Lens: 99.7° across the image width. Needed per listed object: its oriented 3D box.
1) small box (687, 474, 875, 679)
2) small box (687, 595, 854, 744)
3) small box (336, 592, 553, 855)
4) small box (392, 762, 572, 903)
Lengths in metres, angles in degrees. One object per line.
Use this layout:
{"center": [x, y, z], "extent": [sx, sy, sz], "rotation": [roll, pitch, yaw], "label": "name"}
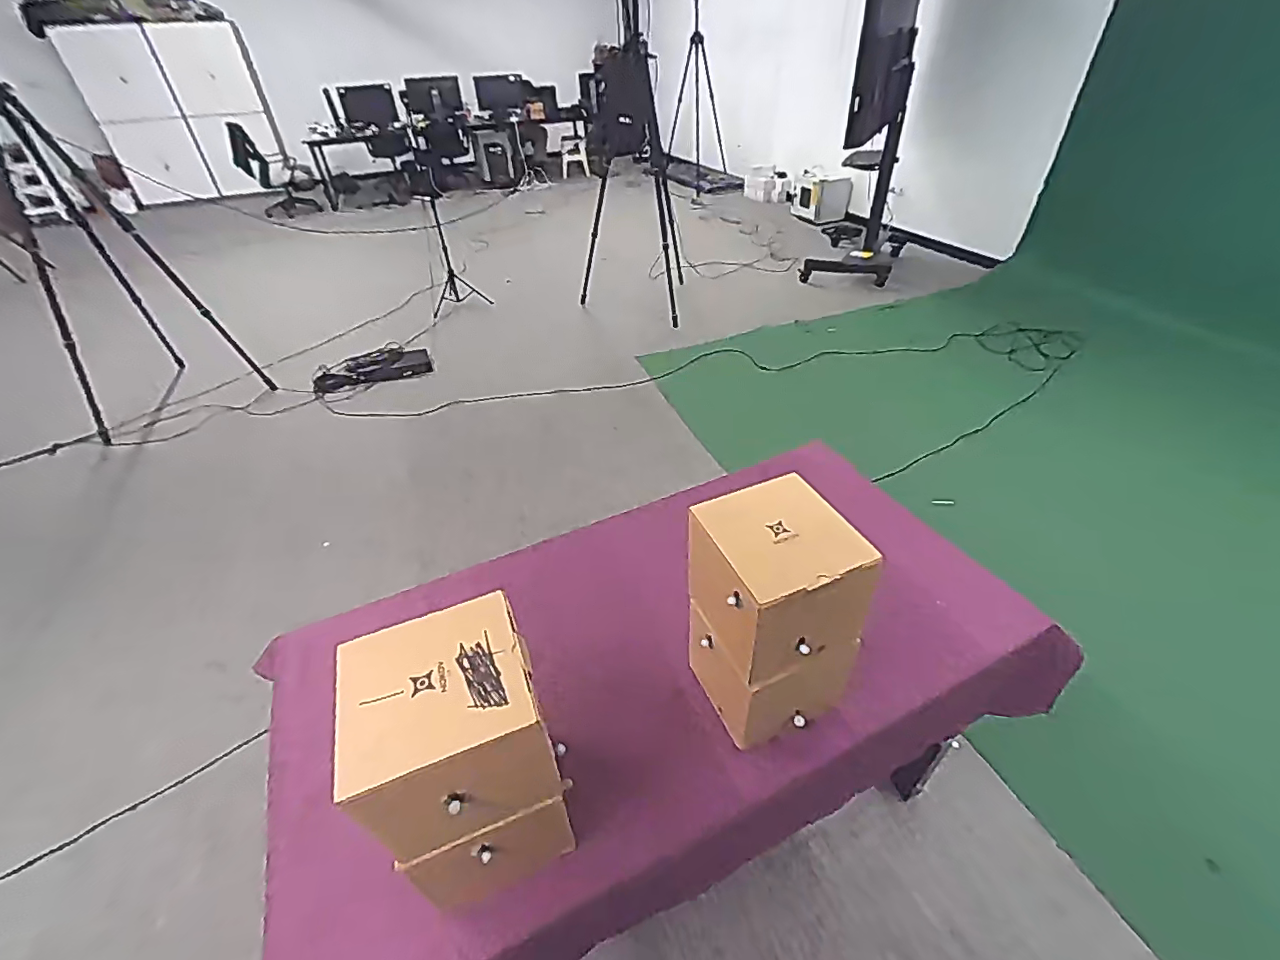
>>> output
{"center": [0.168, 0.124, 0.714], "extent": [0.168, 0.176, 0.179], "rotation": [-17, 42, -16], "label": "small box"}
{"center": [0.181, 0.256, 0.811], "extent": [0.179, 0.176, 0.168], "rotation": [-17, 41, -17], "label": "small box"}
{"center": [-0.199, 0.257, 0.578], "extent": [0.179, 0.176, 0.168], "rotation": [-18, 42, -15], "label": "small box"}
{"center": [-0.197, 0.386, 0.679], "extent": [0.179, 0.176, 0.168], "rotation": [-16, 42, -16], "label": "small box"}
